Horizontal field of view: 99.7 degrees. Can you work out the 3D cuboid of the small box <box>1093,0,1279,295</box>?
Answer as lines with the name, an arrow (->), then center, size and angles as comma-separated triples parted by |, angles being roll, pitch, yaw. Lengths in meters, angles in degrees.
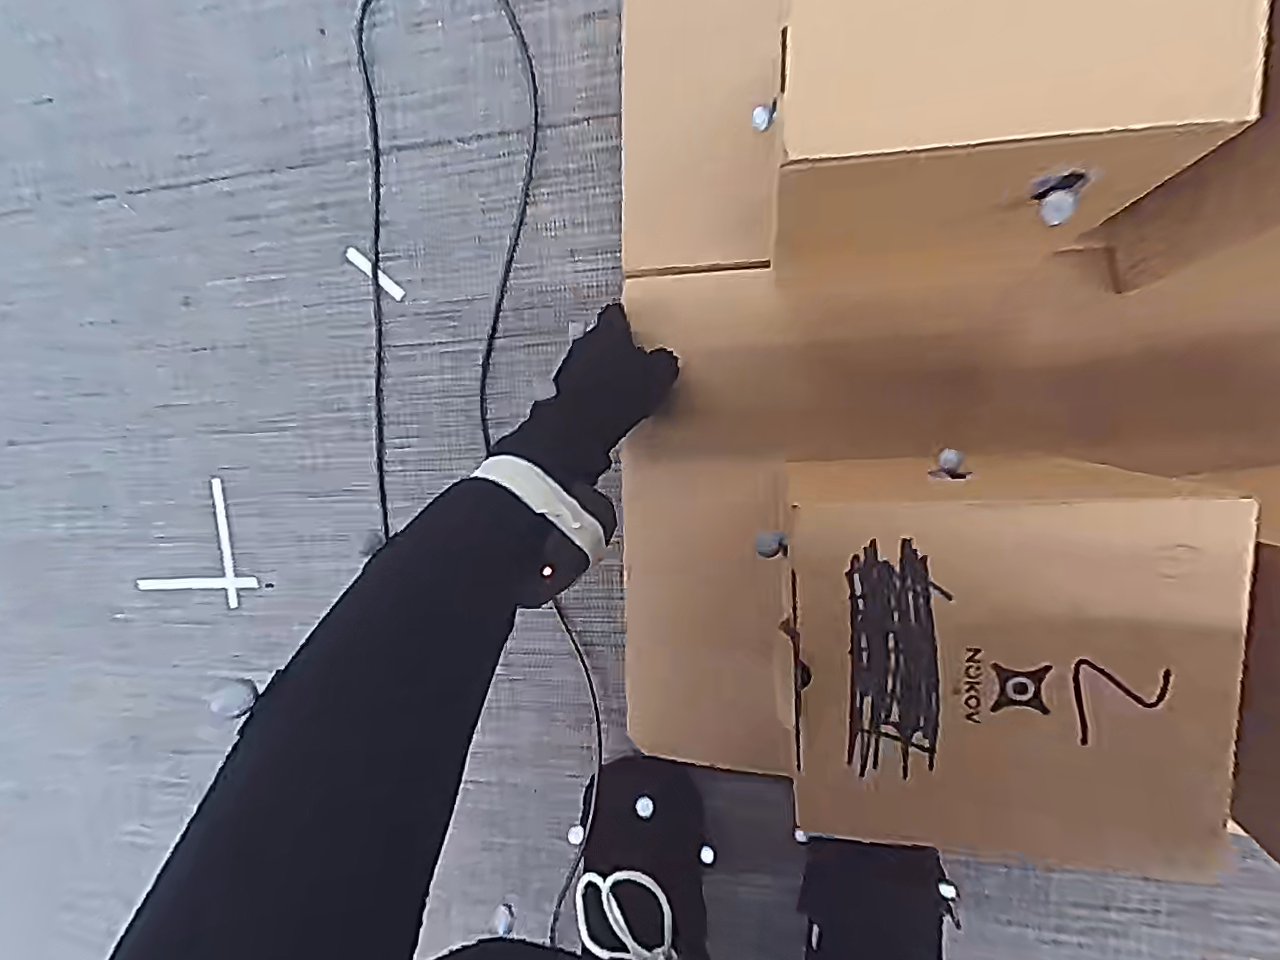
small box -> 0.360, -0.203, 0.255 | 0.179, 0.176, 0.168 | -6, 91, 14

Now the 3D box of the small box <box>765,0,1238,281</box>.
small box -> 0.164, -0.220, 0.303 | 0.179, 0.176, 0.168 | 2, 93, 13
